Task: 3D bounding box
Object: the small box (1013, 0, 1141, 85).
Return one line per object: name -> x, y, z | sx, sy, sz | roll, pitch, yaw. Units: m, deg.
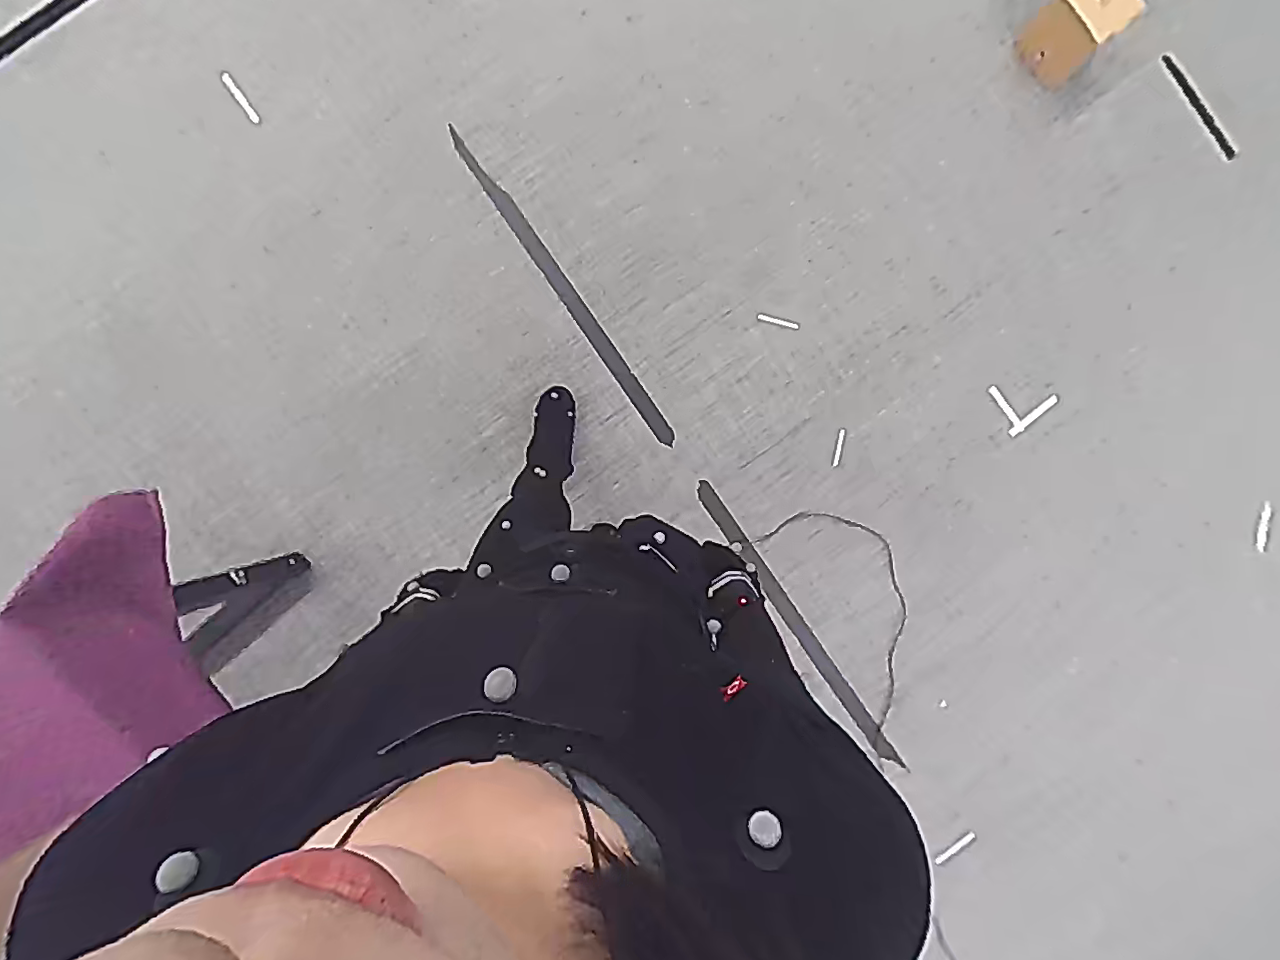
small box -> 1.184, -1.234, 1.478 | 0.168, 0.176, 0.179 | -38, 93, -2
